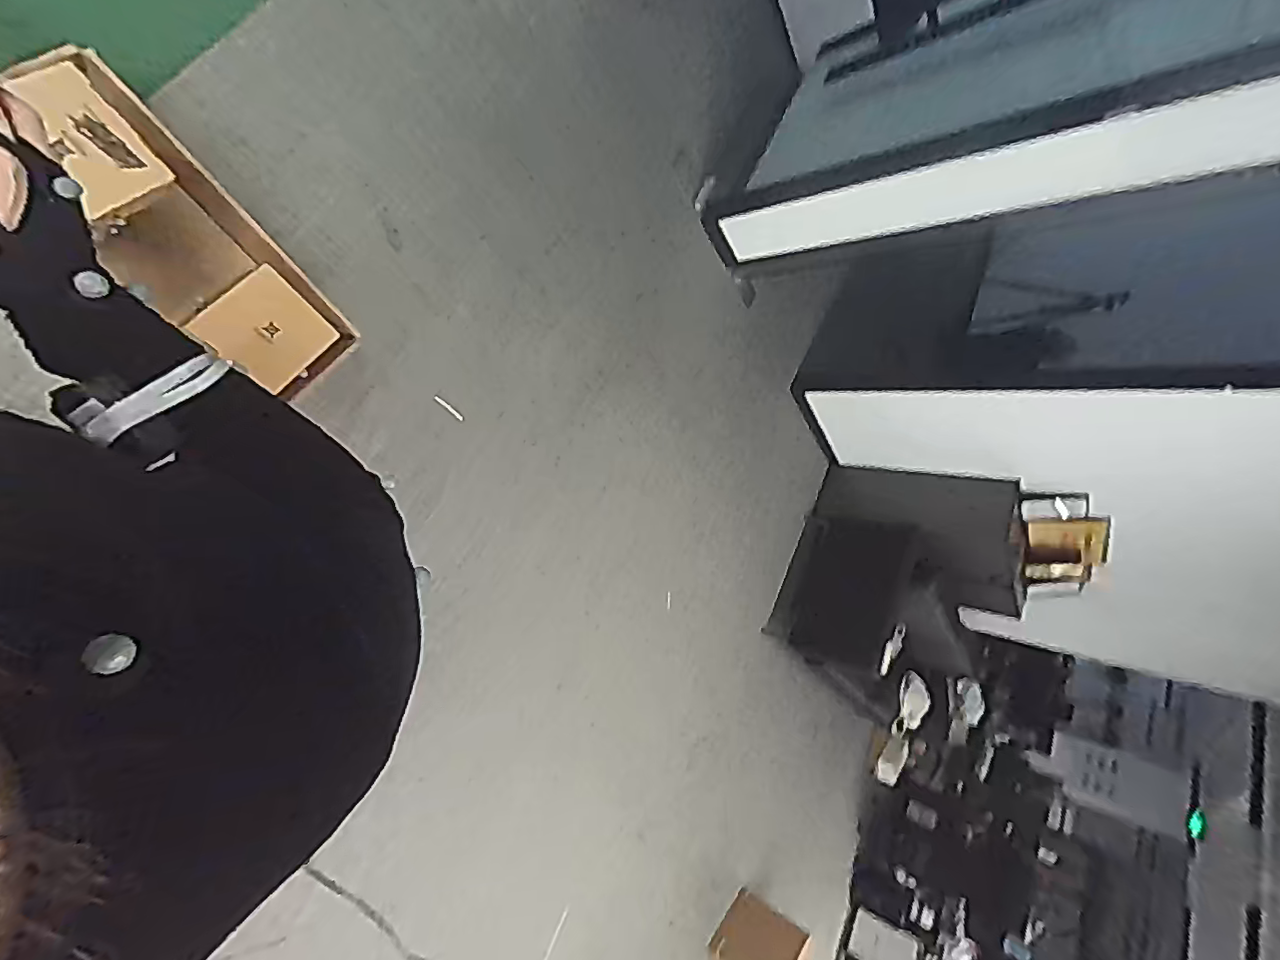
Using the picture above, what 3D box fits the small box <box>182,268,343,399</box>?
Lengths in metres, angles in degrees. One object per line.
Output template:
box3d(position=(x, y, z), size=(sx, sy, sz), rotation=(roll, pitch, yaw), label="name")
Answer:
box3d(position=(-0.719, -0.274, 1.027), size=(0.179, 0.176, 0.168), rotation=(-57, 132, -24), label="small box")

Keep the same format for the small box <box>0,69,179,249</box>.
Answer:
box3d(position=(-0.870, -0.479, 0.824), size=(0.179, 0.176, 0.168), rotation=(-53, 132, -26), label="small box")
